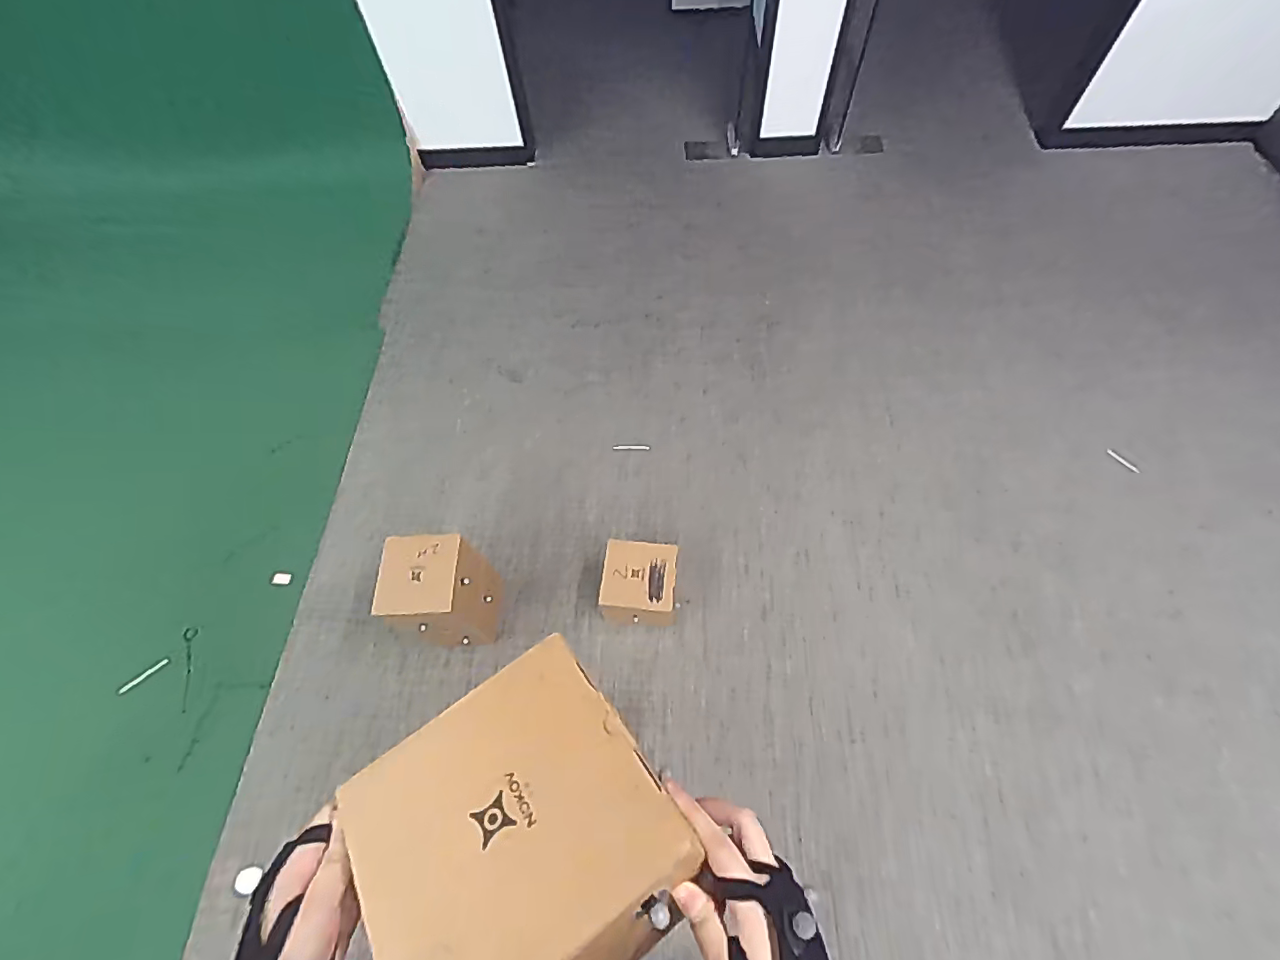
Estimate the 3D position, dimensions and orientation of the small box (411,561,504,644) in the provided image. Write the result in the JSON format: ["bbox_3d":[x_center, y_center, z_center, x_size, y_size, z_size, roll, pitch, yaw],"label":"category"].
[{"bbox_3d":[-0.450,0.313,1.364,0.168,0.176,0.179,-1,62,2],"label":"small box"}]

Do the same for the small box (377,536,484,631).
[{"bbox_3d":[-0.460,0.239,1.217,0.168,0.176,0.179,-2,62,1],"label":"small box"}]

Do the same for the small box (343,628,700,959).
[{"bbox_3d":[-0.076,0.253,0.398,0.179,0.176,0.168,-33,48,-15],"label":"small box"}]
